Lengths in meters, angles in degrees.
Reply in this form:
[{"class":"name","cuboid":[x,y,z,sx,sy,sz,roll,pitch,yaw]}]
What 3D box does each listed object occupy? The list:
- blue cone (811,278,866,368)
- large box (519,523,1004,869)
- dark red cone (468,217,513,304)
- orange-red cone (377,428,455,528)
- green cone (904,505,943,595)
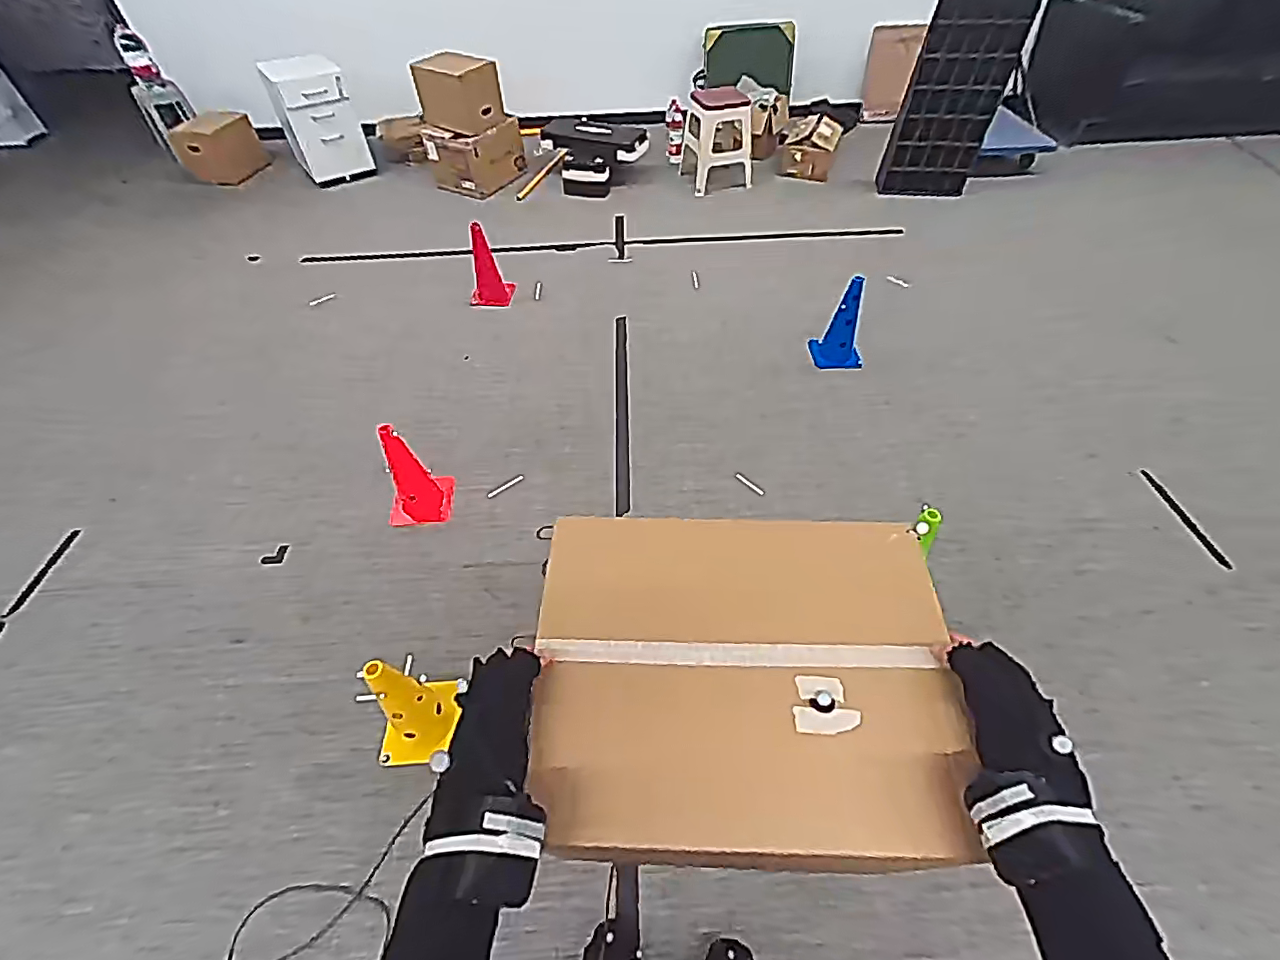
[{"class":"blue cone","cuboid":[0.849,-0.654,2.231,0.192,0.380,0.193,0,50,1]},{"class":"large box","cuboid":[0.100,0.264,0.644,0.408,0.320,0.320,1,53,2]},{"class":"dark red cone","cuboid":[-0.743,-1.039,2.563,0.201,0.394,0.202,2,50,2]},{"class":"orange-red cone","cuboid":[-0.756,-0.029,1.743,0.198,0.360,0.199,-6,51,-1]},{"class":"green cone","cuboid":[0.745,0.199,1.494,0.202,0.368,0.200,-33,57,-25]}]
